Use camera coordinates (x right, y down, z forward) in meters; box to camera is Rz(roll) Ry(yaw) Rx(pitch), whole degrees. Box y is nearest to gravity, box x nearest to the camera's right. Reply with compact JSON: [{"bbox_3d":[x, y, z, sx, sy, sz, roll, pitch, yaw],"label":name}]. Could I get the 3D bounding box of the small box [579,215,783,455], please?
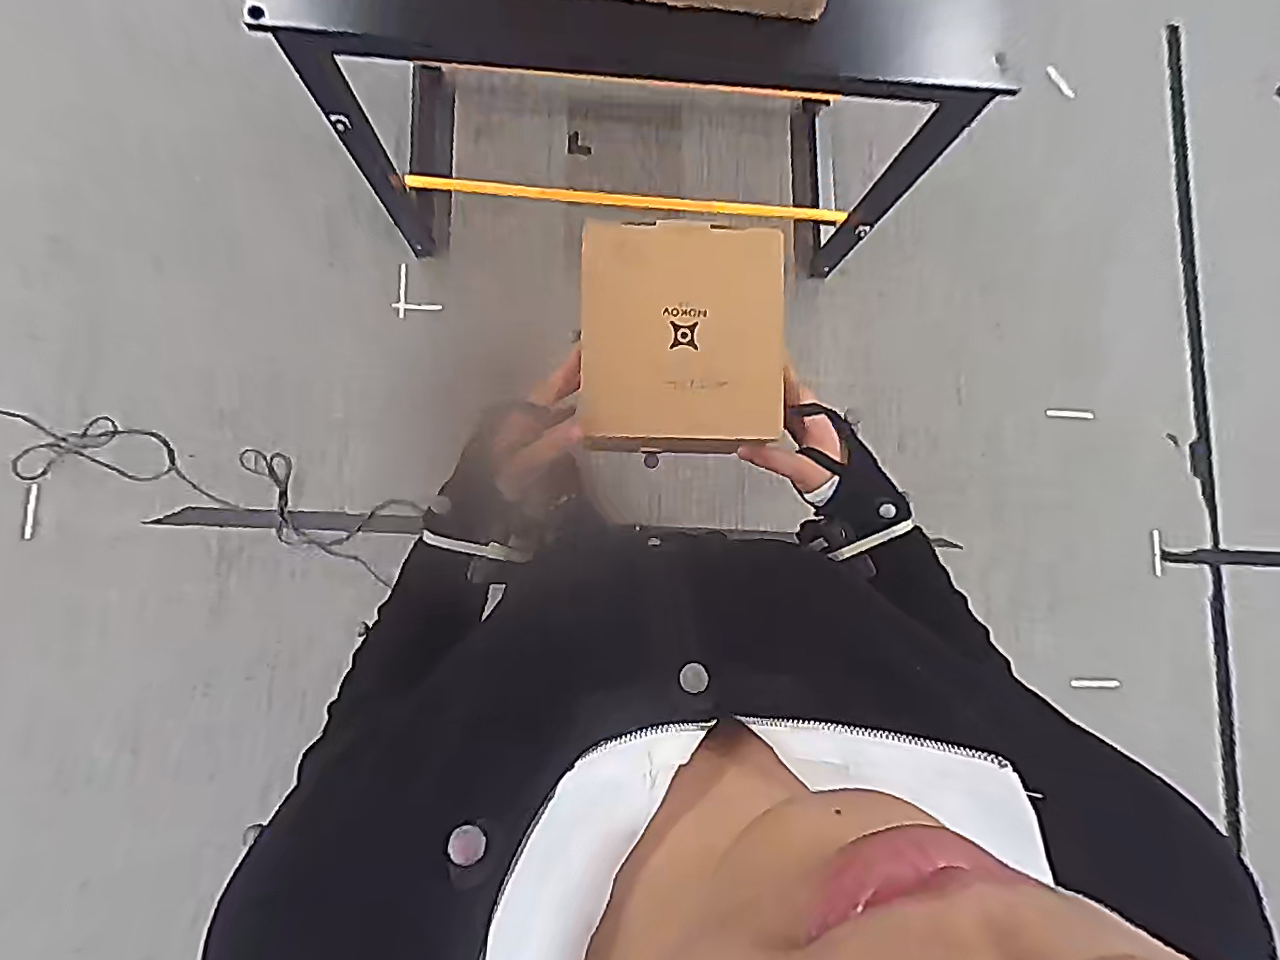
[{"bbox_3d":[0.027,-0.119,0.512,0.168,0.176,0.179,1,88,-4],"label":"small box"}]
